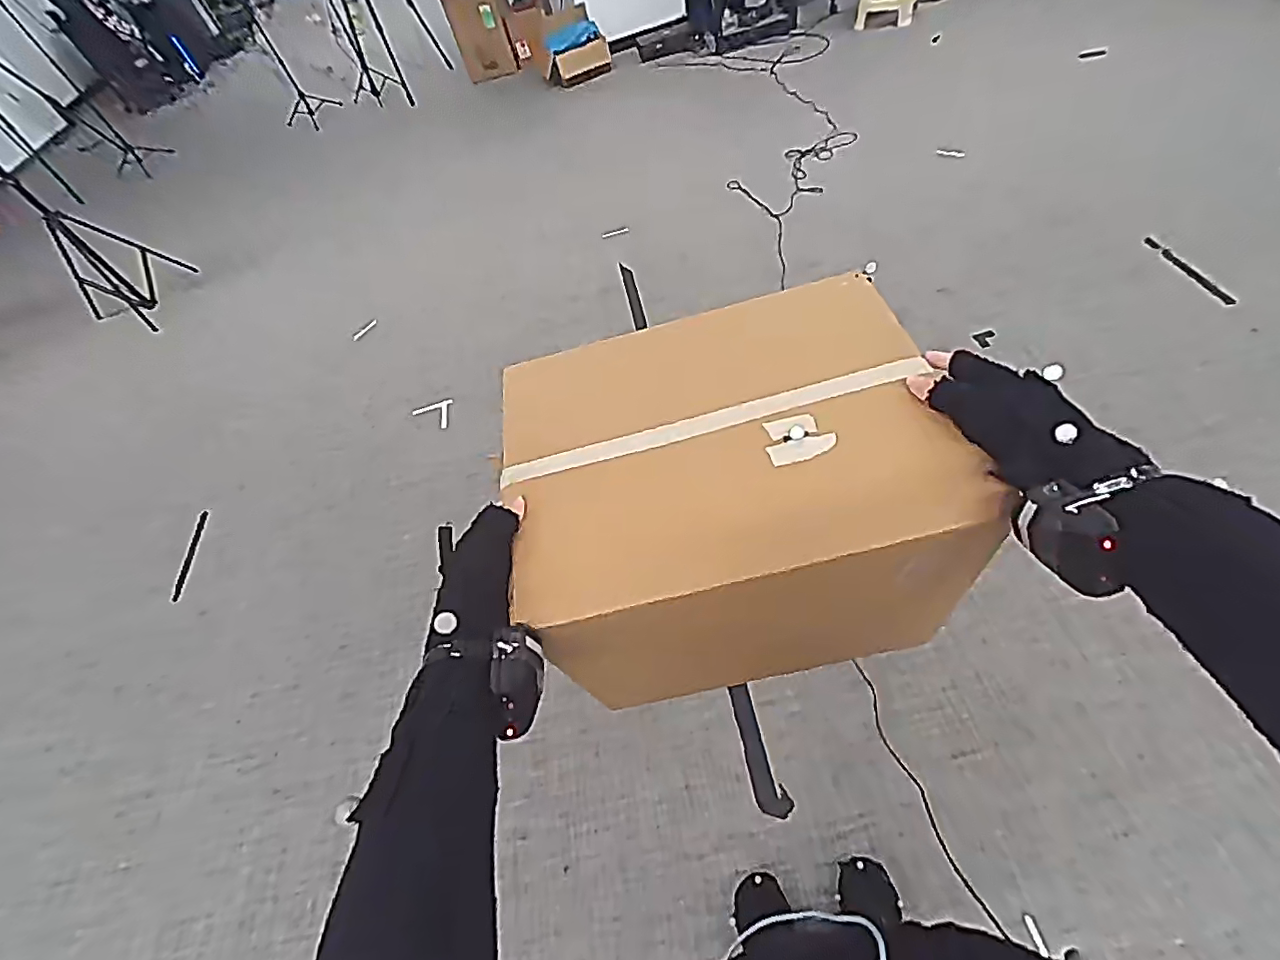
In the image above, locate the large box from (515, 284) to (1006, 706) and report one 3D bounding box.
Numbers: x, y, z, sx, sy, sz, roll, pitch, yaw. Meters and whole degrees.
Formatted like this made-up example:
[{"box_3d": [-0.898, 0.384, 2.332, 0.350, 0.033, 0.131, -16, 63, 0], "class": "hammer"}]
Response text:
[{"box_3d": [0.100, 0.036, 0.639, 0.408, 0.320, 0.320, -14, 55, 4], "class": "large box"}]
